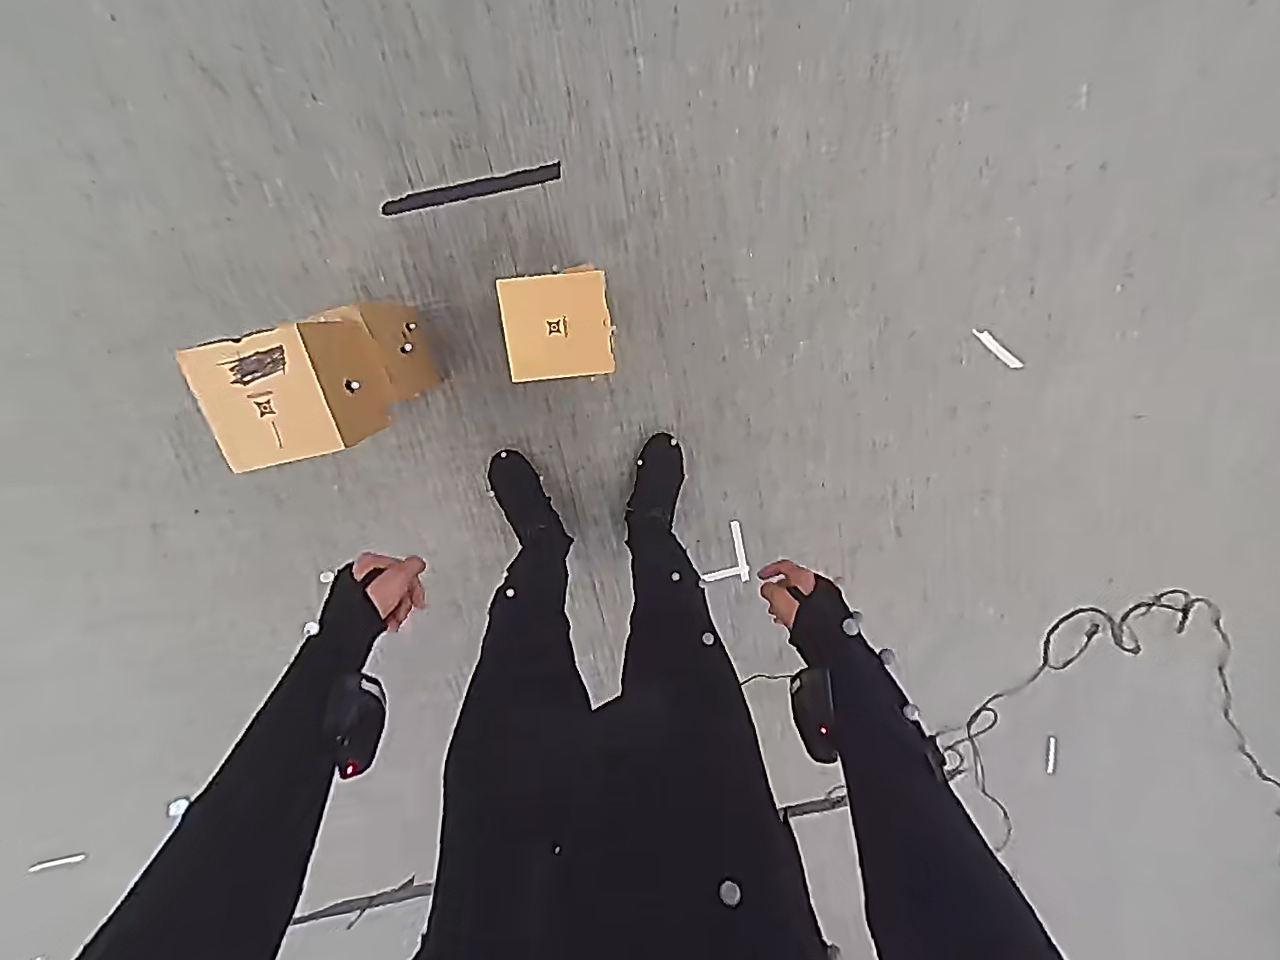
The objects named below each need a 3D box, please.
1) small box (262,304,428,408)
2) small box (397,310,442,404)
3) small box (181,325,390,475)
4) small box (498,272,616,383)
[{"bbox_3d":[-0.505,-0.201,0.949,0.179,0.176,0.168,-16,108,1],"label":"small box"},{"bbox_3d":[-0.530,-0.244,1.105,0.168,0.176,0.179,-15,108,1],"label":"small box"},{"bbox_3d":[-0.503,-0.126,0.800,0.168,0.176,0.179,-12,109,1],"label":"small box"},{"bbox_3d":[-0.138,-0.269,0.958,0.179,0.176,0.168,-7,108,-3],"label":"small box"}]
